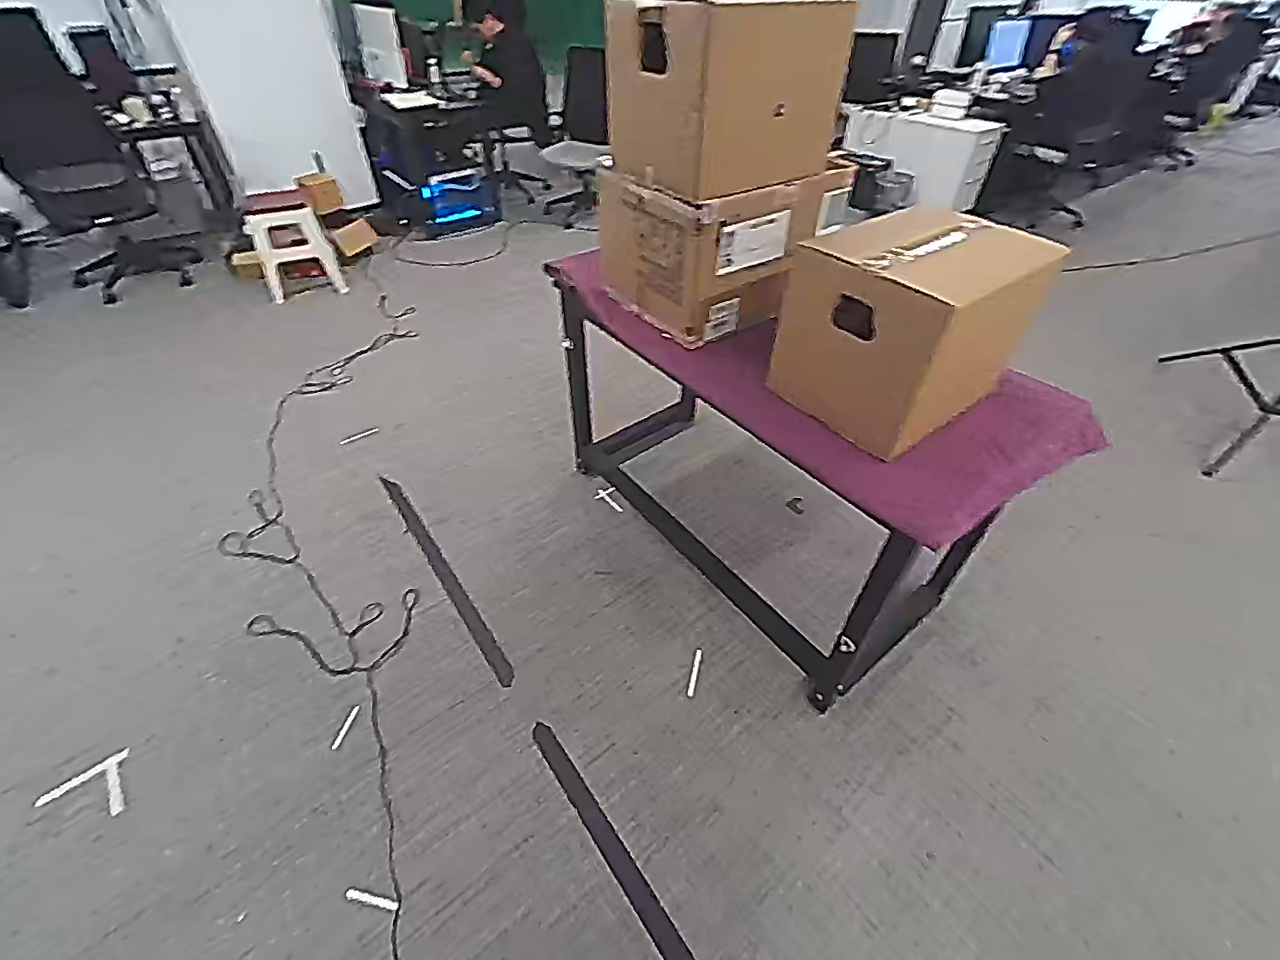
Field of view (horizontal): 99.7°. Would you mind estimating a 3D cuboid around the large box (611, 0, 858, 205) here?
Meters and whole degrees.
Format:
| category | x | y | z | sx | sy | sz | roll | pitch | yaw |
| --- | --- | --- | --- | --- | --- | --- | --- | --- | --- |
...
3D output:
| category | x | y | z | sx | sy | sz | roll | pitch | yaw |
| --- | --- | --- | --- | --- | --- | --- | --- | --- | --- |
| large box | 0.189 | -0.828 | 1.165 | 0.408 | 0.320 | 0.320 | -28 | 49 | -27 |
